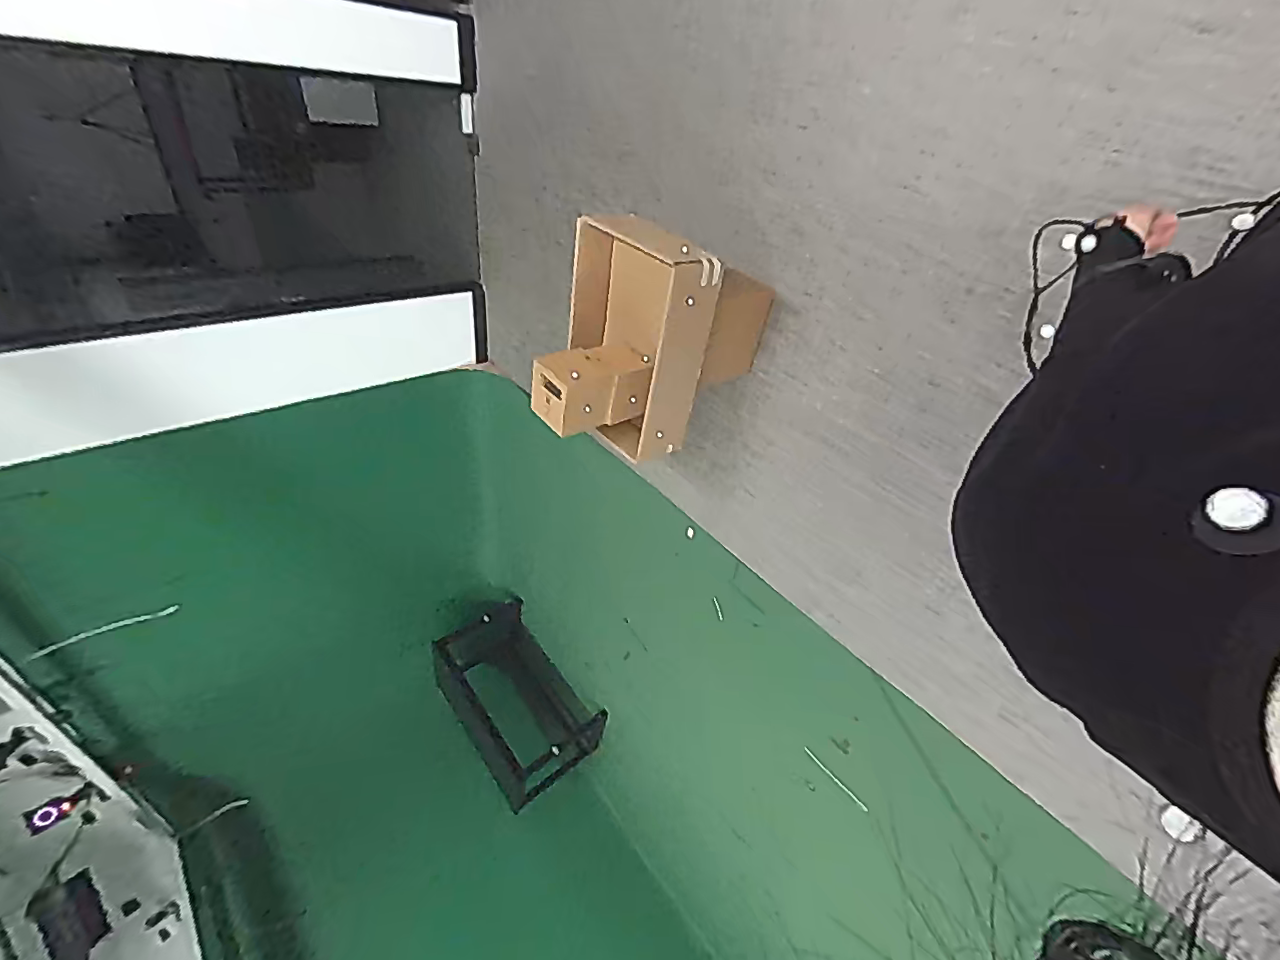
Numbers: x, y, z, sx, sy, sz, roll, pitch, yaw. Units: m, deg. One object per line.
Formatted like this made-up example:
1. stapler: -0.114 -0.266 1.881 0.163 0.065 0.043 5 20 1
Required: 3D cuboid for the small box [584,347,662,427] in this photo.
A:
1. small box: -0.052 -0.294 1.674 0.168 0.176 0.179 42 137 32
